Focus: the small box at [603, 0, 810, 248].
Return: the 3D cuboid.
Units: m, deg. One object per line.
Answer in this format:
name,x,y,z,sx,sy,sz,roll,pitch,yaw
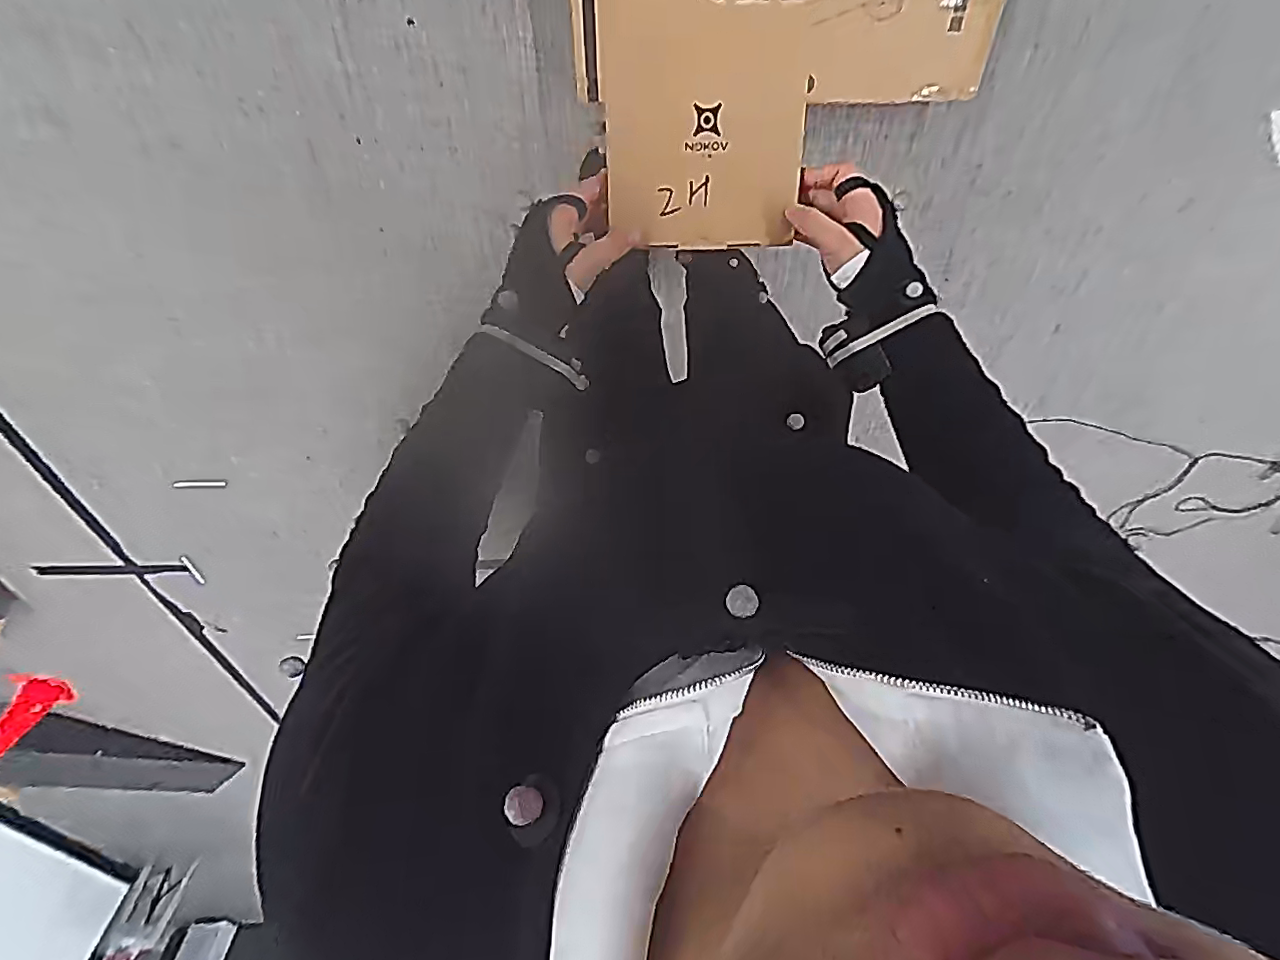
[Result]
small box,0.049,-0.321,0.520,0.168,0.176,0.179,-2,113,-2
